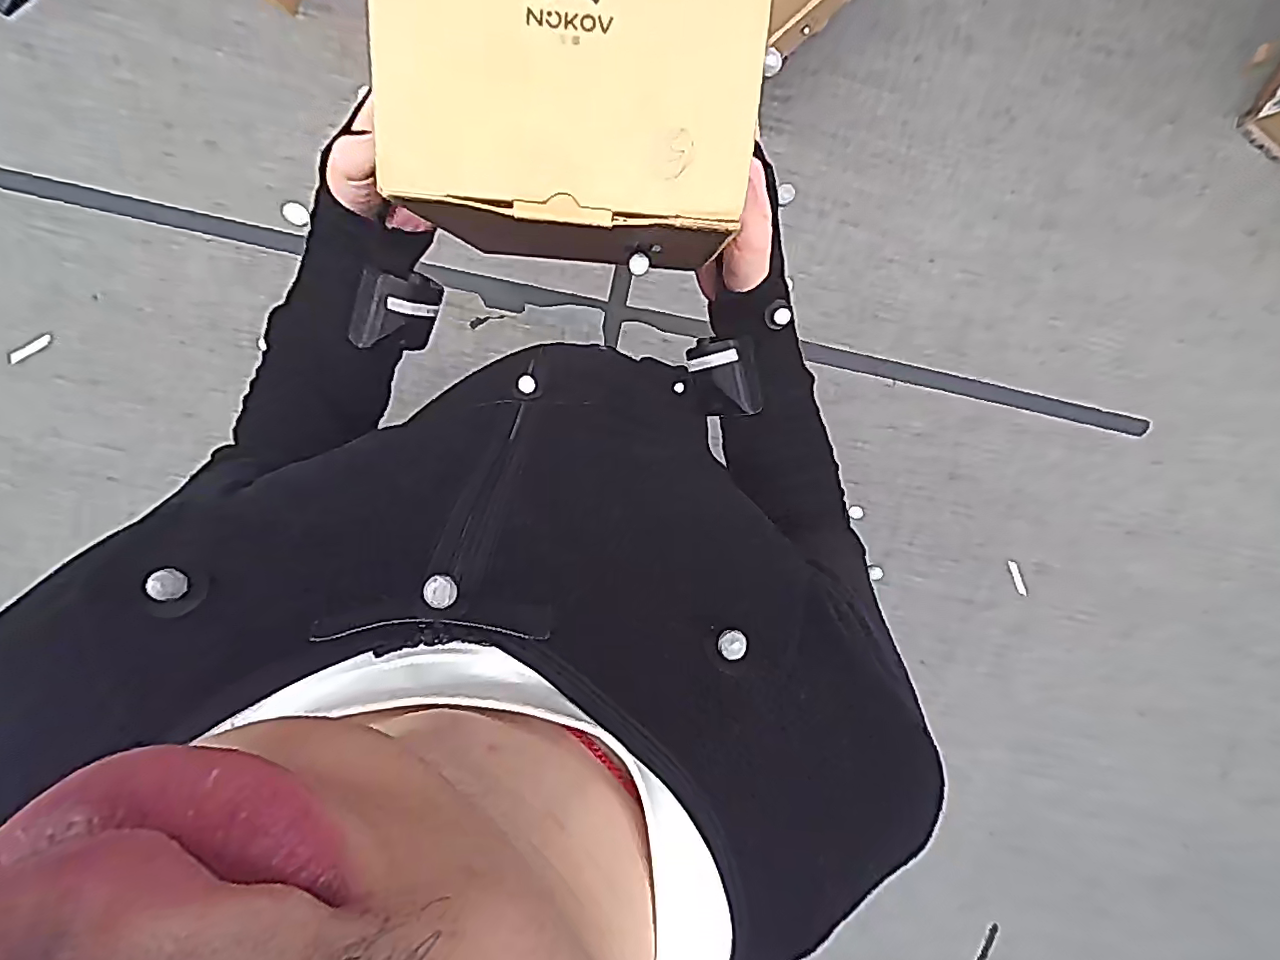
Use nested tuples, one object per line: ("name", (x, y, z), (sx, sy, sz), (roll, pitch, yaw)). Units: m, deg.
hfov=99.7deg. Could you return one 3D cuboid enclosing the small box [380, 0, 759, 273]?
("small box", (-0.031, -0.225, 0.311), (0.168, 0.176, 0.179), (5, 103, -3))
